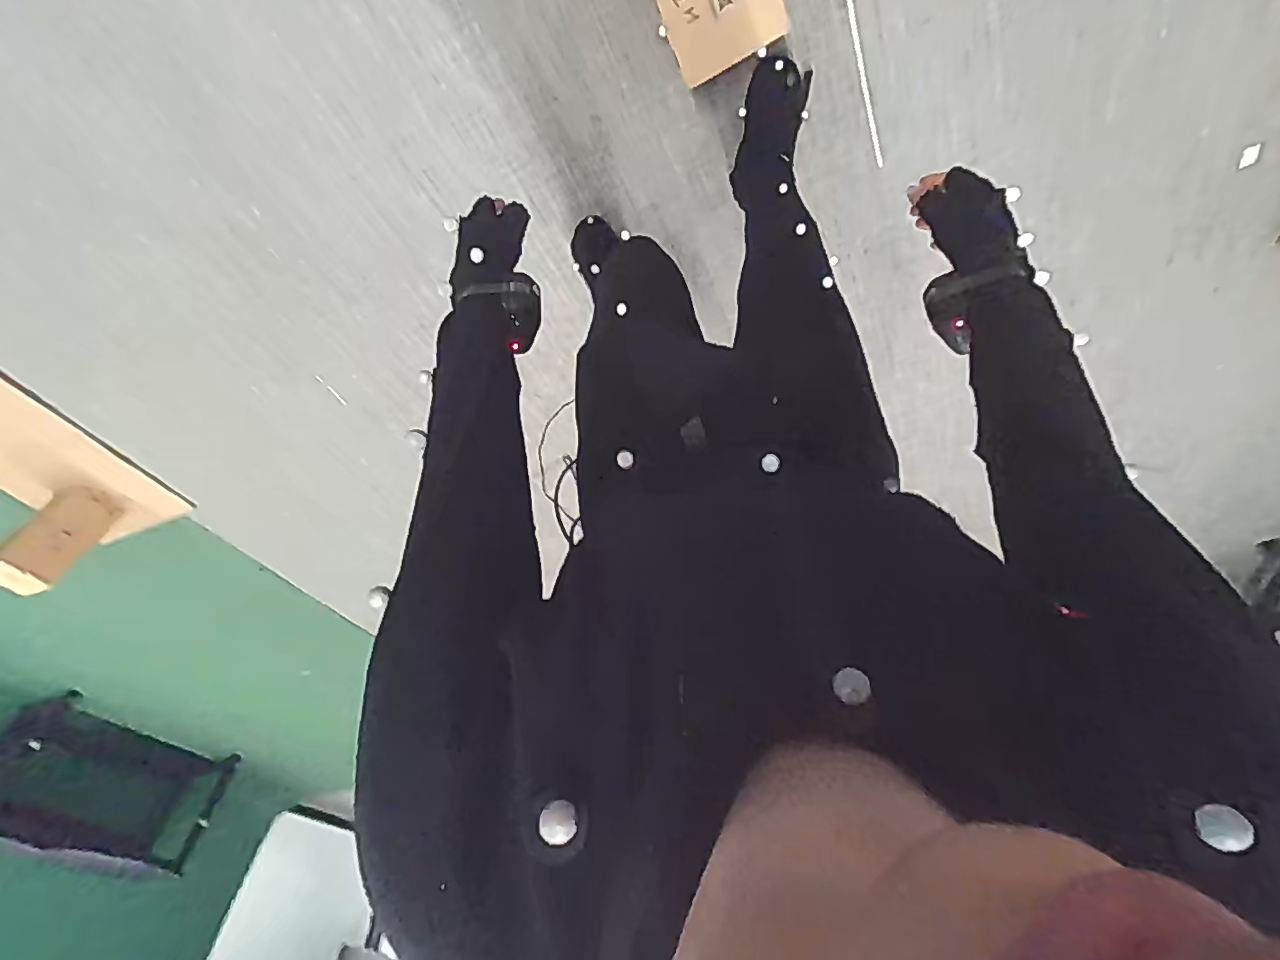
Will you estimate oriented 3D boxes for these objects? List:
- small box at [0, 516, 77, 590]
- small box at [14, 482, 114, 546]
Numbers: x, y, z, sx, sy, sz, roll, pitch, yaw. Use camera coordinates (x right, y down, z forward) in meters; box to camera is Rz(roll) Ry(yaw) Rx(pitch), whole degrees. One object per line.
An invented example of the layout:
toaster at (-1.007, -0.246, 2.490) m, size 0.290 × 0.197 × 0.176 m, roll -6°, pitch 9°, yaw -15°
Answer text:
small box at (-2.068, 0.242, 1.808) m, size 0.179 × 0.176 × 0.168 m, roll -13°, pitch 132°, yaw 17°
small box at (-2.045, 0.128, 1.922) m, size 0.179 × 0.176 × 0.168 m, roll -14°, pitch 133°, yaw 19°
